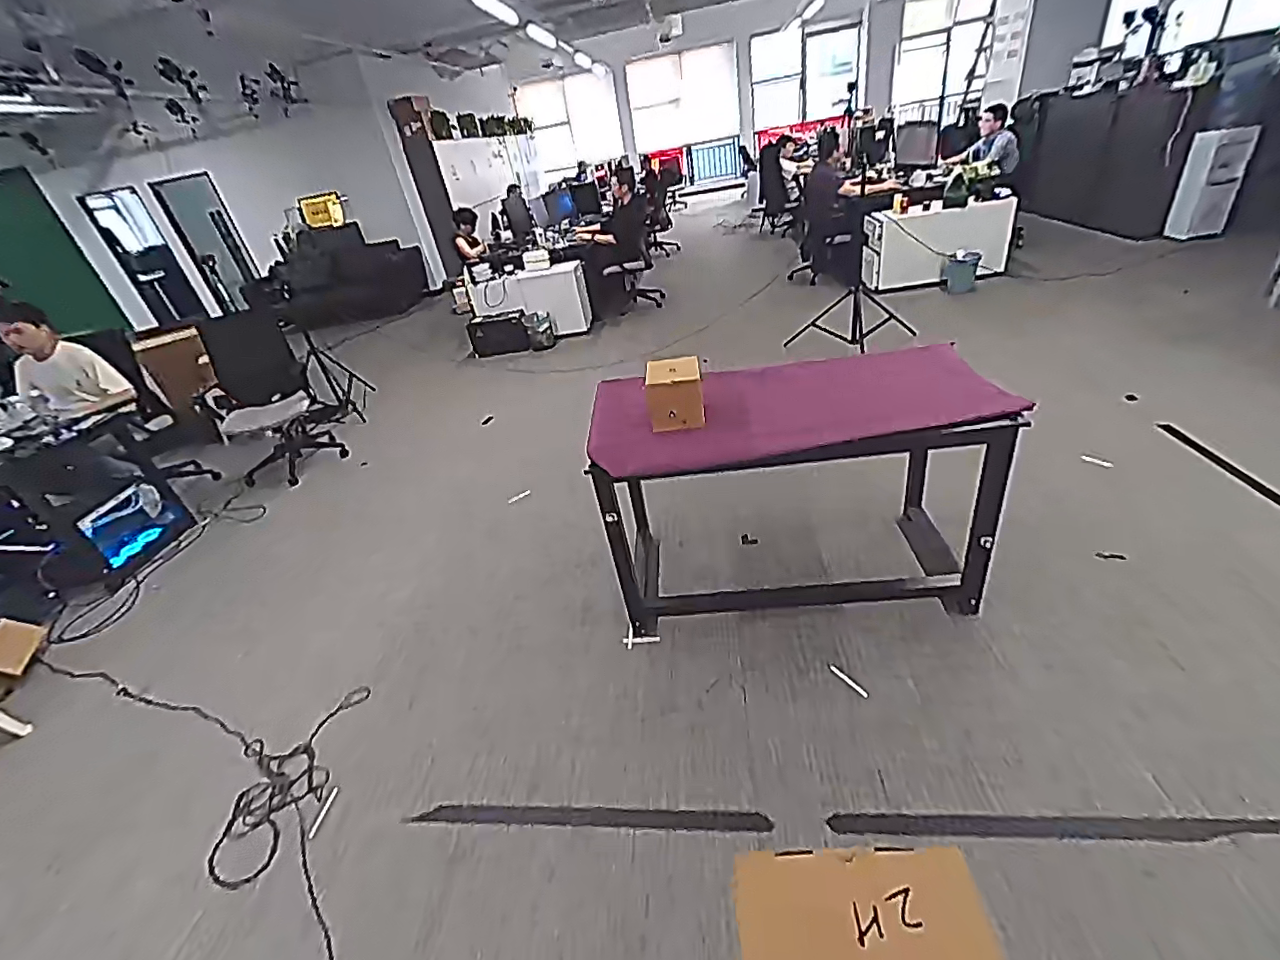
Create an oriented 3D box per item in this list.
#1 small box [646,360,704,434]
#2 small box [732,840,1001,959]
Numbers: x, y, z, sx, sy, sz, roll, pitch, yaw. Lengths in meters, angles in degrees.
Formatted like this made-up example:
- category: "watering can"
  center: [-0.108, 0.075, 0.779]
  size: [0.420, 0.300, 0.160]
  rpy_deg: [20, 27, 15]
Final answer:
- category: "small box"
  center: [0.112, -0.264, 1.723]
  size: [0.168, 0.176, 0.179]
  rpy_deg: [-6, 34, 6]
- category: "small box"
  center: [0.160, 0.386, 0.386]
  size: [0.168, 0.176, 0.179]
  rpy_deg: [-5, 38, 6]
